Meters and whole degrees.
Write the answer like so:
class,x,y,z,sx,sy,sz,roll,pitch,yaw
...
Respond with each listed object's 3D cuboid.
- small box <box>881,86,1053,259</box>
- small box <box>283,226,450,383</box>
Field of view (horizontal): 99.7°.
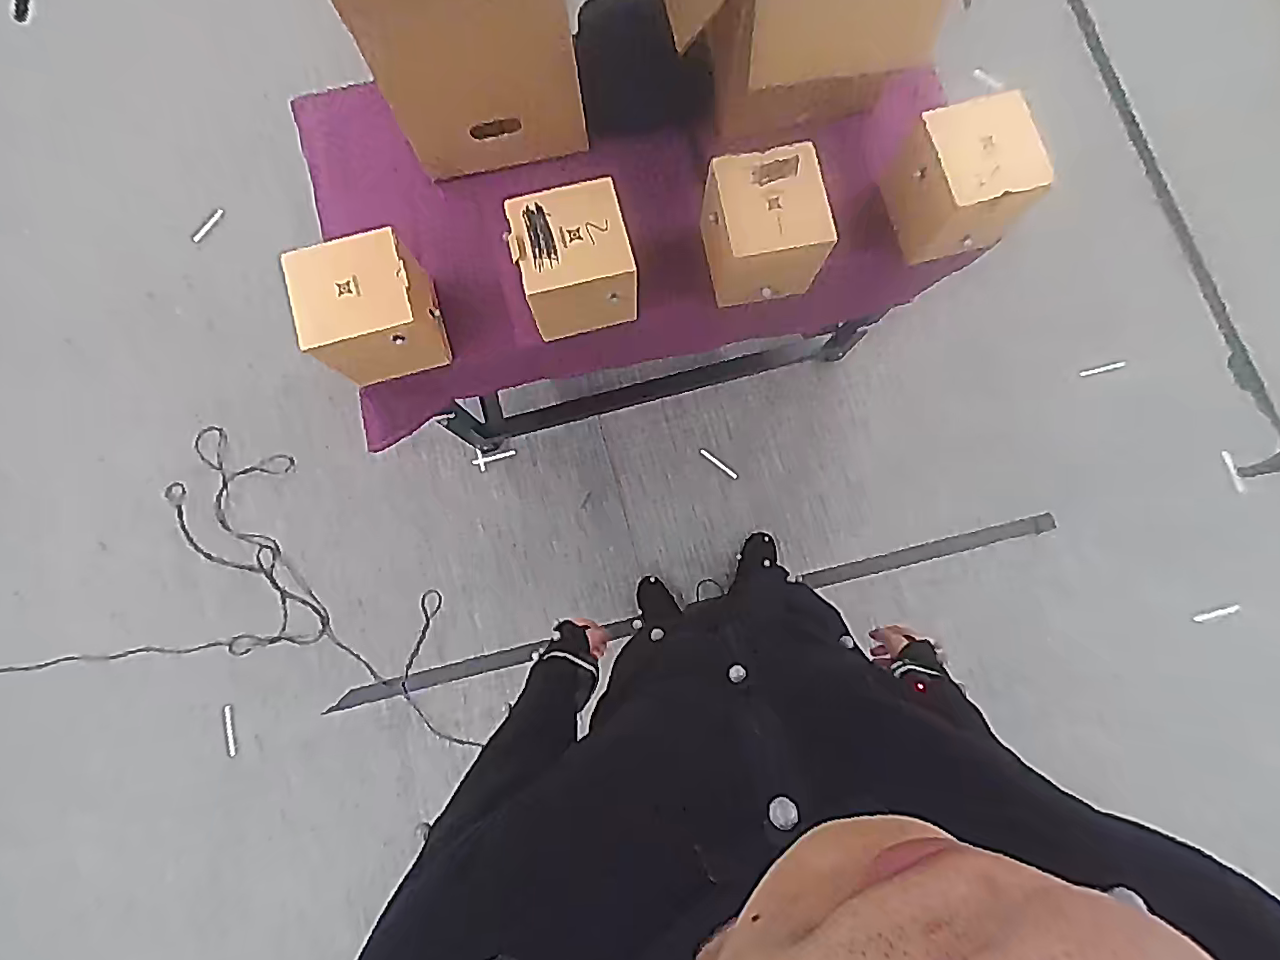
class,x,y,z,sx,sy,sz,roll,pitch,yaw
small box,0.543,-0.516,0.927,0.168,0.176,0.179,-15,82,-1
small box,-0.441,-0.278,0.895,0.179,0.176,0.168,-16,82,-4
